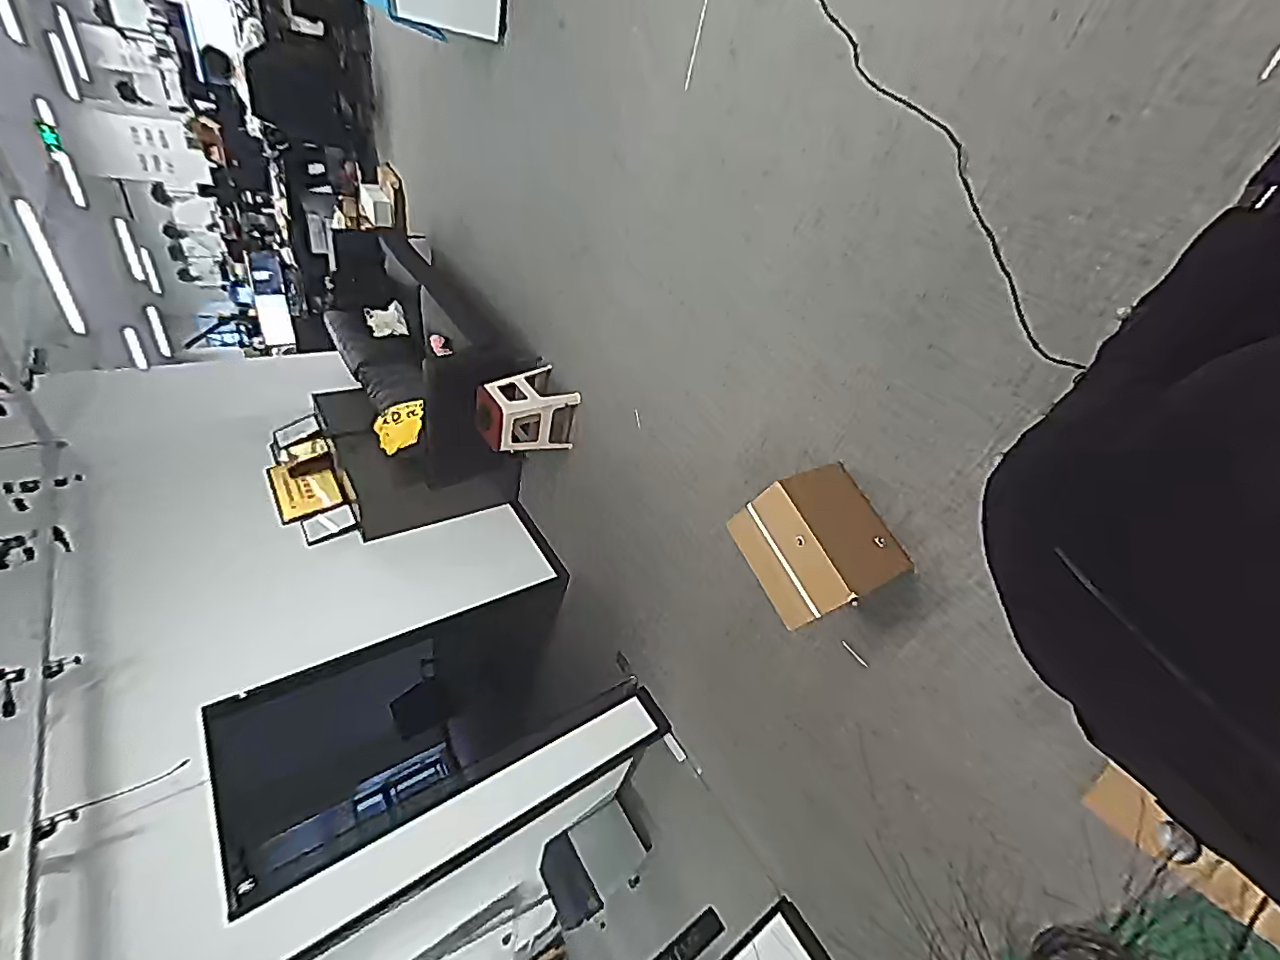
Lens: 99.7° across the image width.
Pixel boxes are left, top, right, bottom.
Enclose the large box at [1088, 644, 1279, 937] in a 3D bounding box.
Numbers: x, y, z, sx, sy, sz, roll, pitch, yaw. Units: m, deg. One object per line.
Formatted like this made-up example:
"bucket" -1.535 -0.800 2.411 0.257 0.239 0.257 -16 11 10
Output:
"large box" 1.198 0.597 1.031 0.408 0.320 0.320 35 131 42
